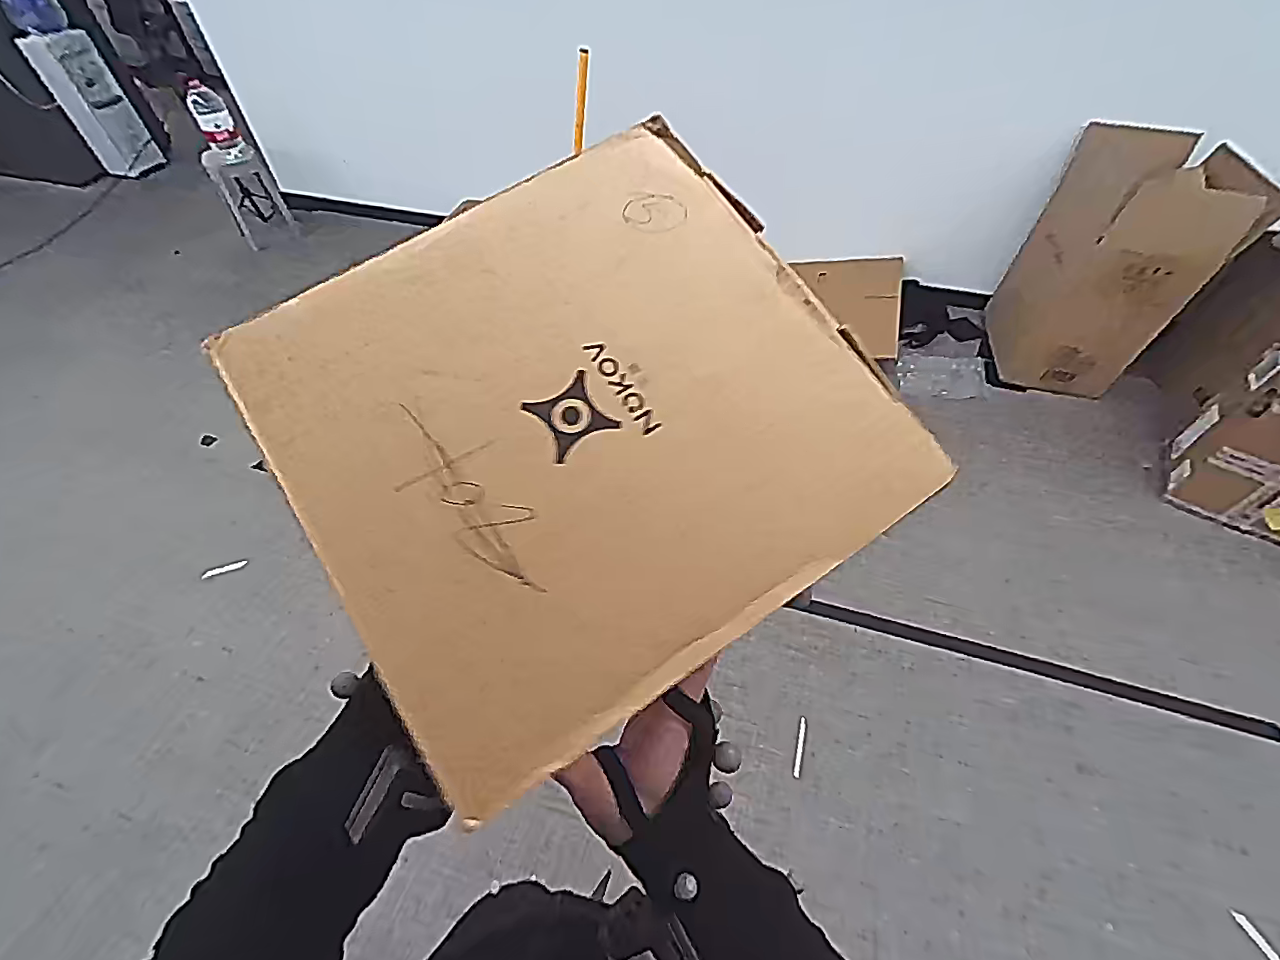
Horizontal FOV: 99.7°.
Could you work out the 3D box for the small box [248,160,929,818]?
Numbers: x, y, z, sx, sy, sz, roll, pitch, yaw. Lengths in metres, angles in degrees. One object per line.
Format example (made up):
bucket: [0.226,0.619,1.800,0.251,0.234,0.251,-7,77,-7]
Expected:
small box: [-0.020,0.005,0.258,0.179,0.176,0.168,-34,79,-10]
